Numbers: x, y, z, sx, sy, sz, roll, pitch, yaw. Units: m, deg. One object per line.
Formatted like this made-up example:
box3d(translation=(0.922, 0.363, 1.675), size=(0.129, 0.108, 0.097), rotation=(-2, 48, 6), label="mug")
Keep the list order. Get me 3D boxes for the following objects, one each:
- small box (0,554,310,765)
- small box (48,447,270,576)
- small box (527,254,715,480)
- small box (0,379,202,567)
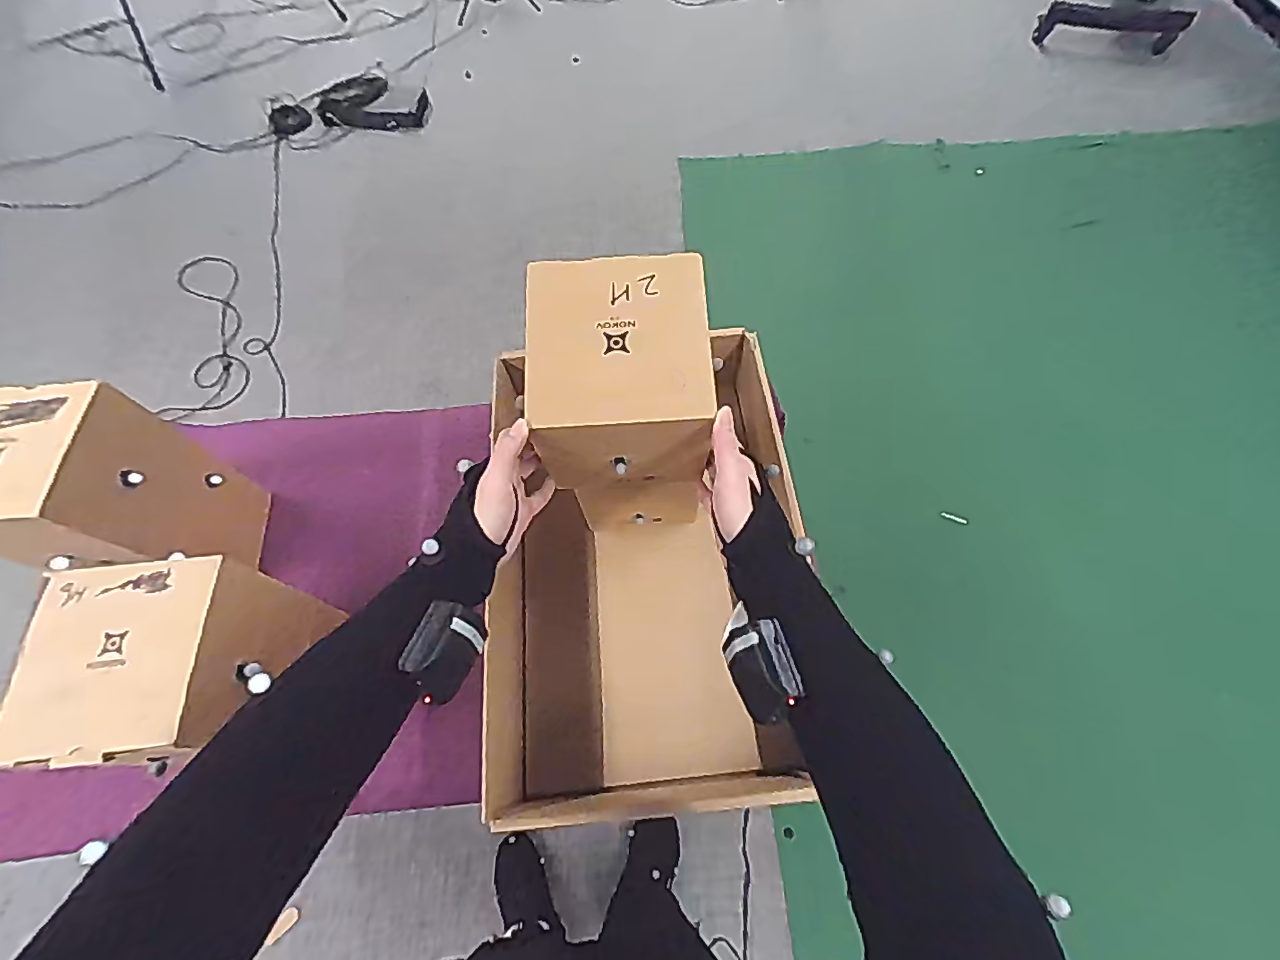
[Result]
box3d(translation=(-0.482, 0.191, 0.567), size=(0.168, 0.176, 0.179), rotation=(-5, 64, -2), label="small box")
box3d(translation=(-0.699, 0.072, 0.814), size=(0.168, 0.176, 0.179), rotation=(-7, 63, -2), label="small box")
box3d(translation=(-0.016, -0.104, 0.561), size=(0.168, 0.176, 0.179), rotation=(-2, 70, 0), label="small box")
box3d(translation=(-0.697, -0.003, 0.667), size=(0.168, 0.176, 0.179), rotation=(-3, 64, 0), label="small box")
